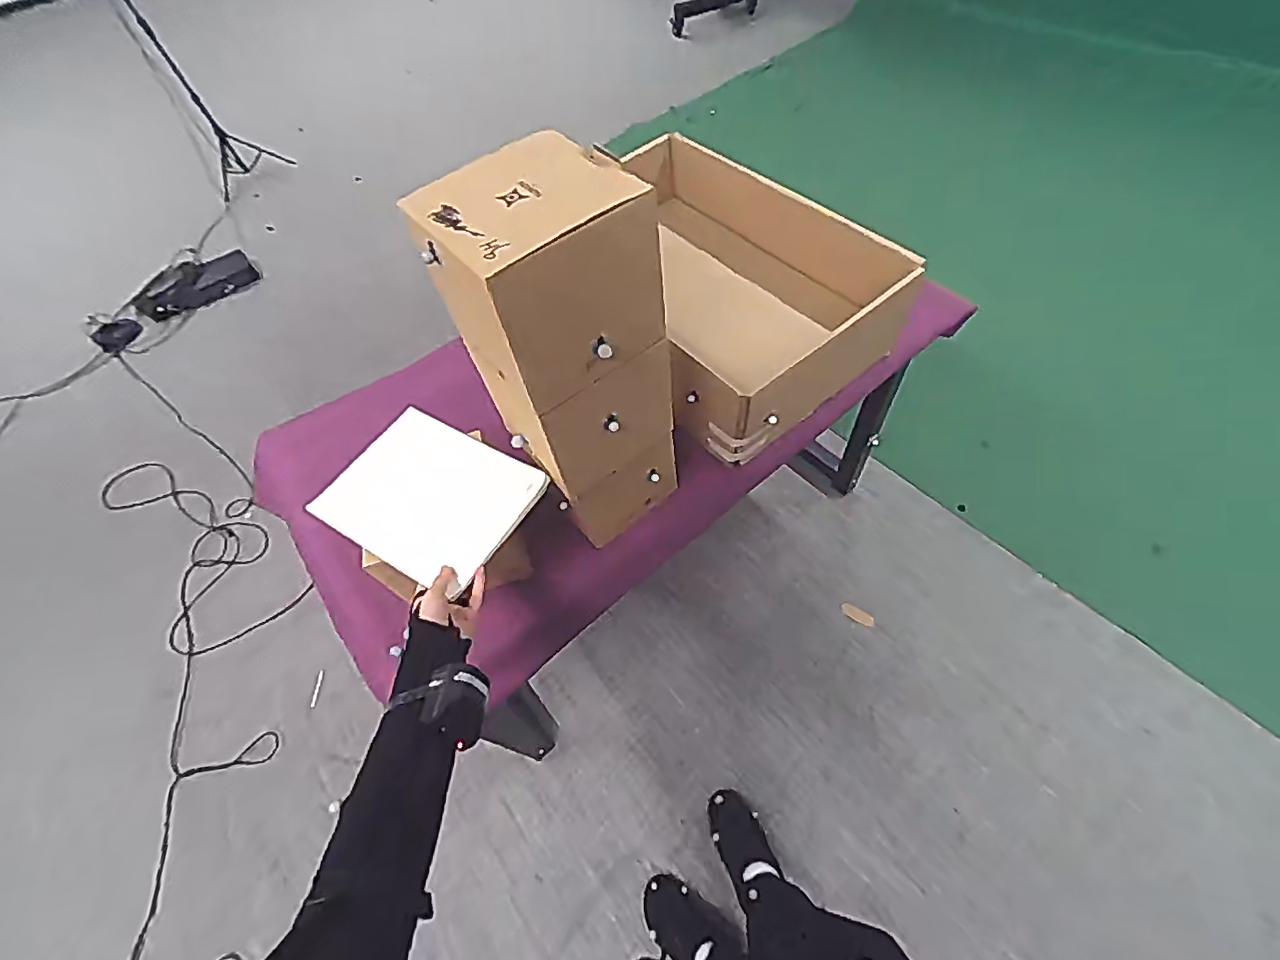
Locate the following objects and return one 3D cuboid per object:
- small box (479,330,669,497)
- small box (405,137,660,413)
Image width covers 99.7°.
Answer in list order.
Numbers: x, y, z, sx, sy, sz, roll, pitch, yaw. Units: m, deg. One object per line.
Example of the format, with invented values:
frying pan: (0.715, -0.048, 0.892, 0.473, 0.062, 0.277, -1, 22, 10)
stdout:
small box: (-0.078, -0.114, 0.683, 0.179, 0.176, 0.168, -36, 59, -16)
small box: (-0.094, -0.204, 0.547, 0.179, 0.176, 0.168, -36, 59, -17)
